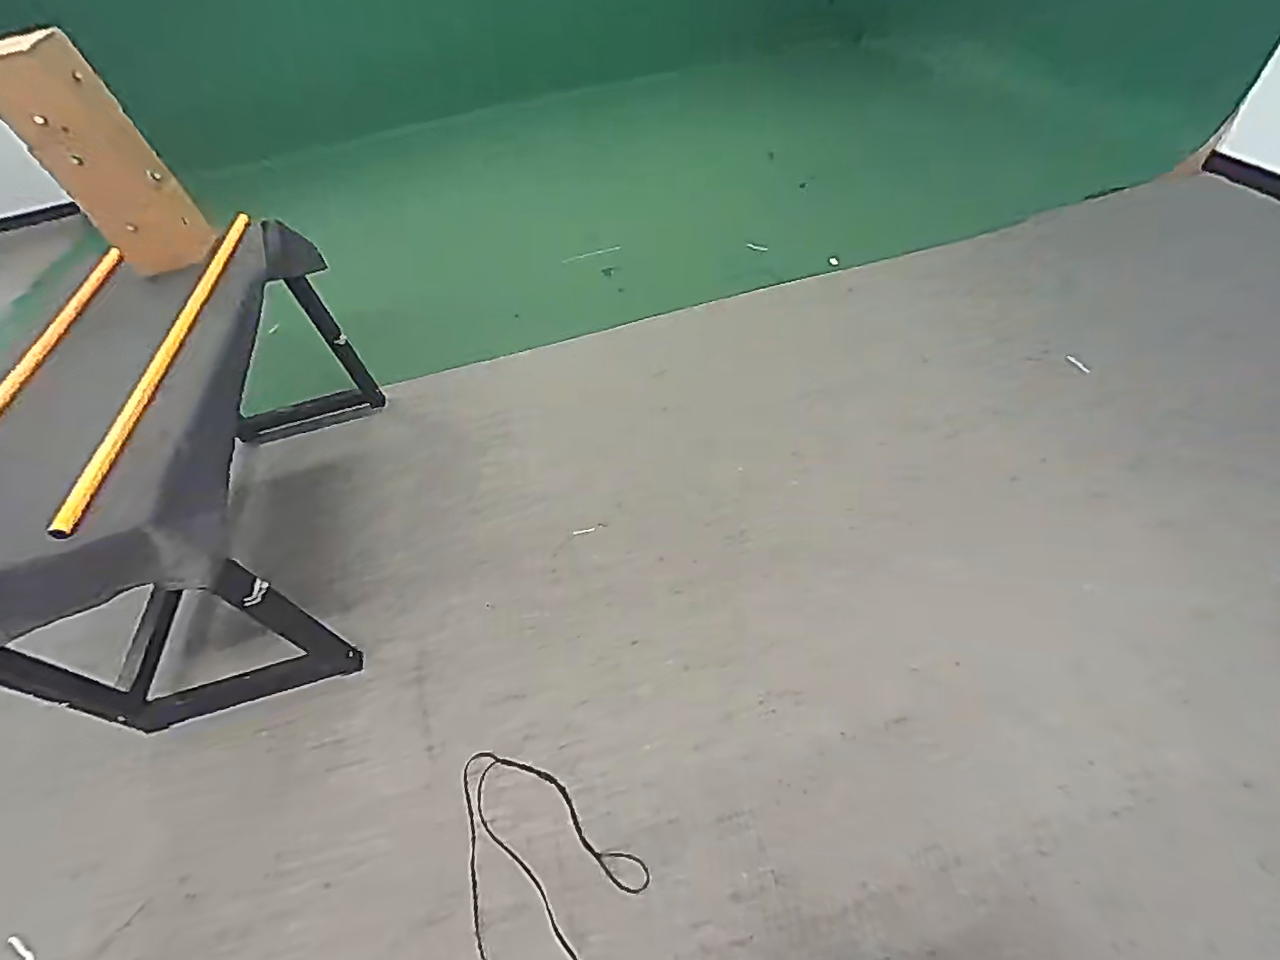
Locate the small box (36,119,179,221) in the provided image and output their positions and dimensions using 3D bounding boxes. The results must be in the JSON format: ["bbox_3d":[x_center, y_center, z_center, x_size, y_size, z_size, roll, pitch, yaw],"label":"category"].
[{"bbox_3d":[-1.368,-0.801,1.405,0.179,0.176,0.168,-16,52,-4],"label":"small box"}]

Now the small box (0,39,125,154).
[{"bbox_3d":[-1.388,-0.903,1.278,0.168,0.176,0.179,-17,53,-3],"label":"small box"}]

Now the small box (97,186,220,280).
[{"bbox_3d":[-1.344,-0.696,1.527,0.179,0.176,0.168,-15,51,-2],"label":"small box"}]
